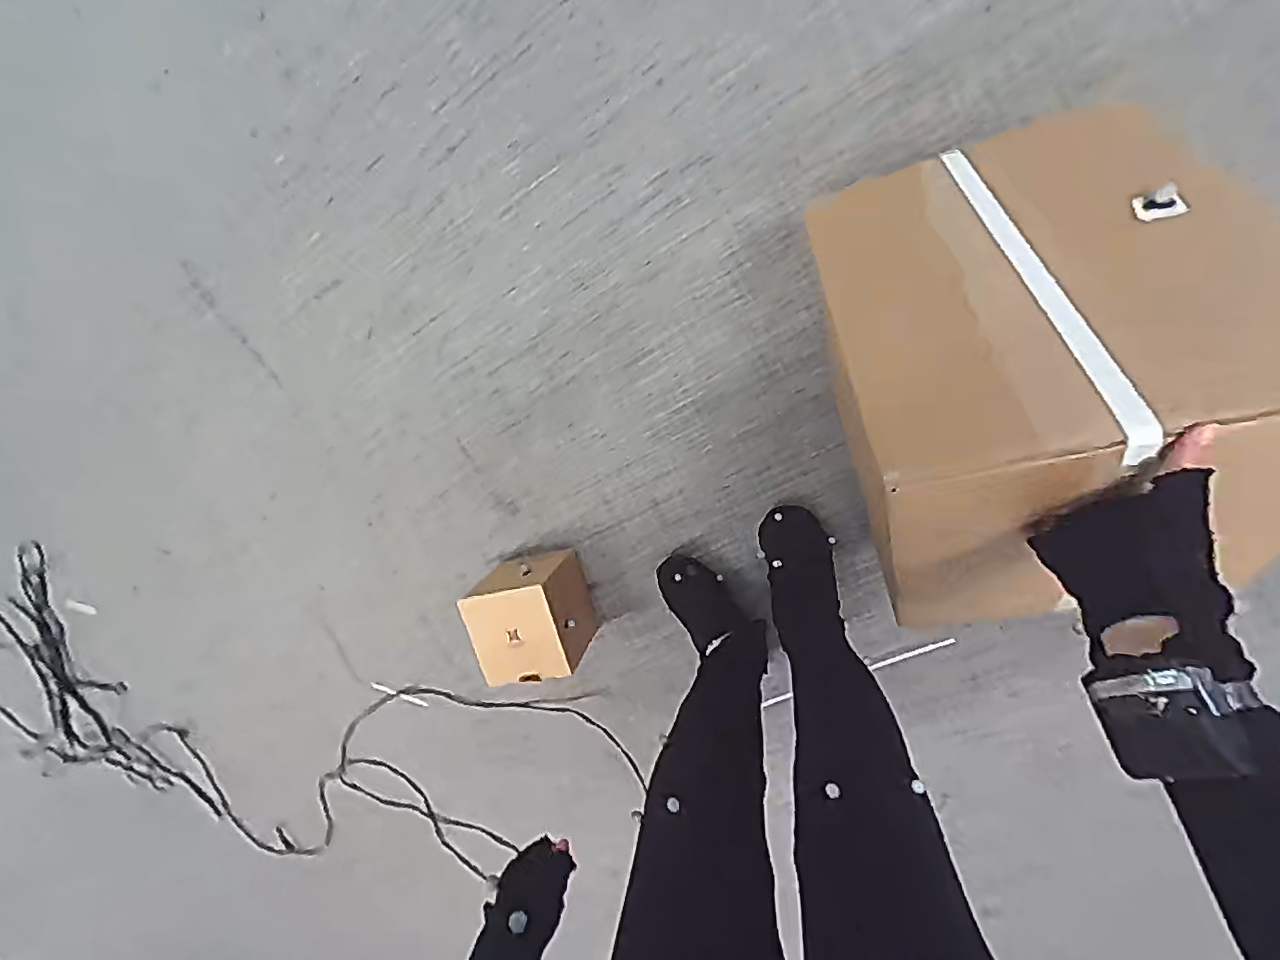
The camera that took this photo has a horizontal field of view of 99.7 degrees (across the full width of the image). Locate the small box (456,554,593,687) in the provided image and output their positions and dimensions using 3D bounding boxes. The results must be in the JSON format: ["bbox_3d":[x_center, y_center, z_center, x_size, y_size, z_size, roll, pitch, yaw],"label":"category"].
[{"bbox_3d":[-0.203,0.250,1.001,0.168,0.176,0.179,-13,103,15],"label":"small box"}]
